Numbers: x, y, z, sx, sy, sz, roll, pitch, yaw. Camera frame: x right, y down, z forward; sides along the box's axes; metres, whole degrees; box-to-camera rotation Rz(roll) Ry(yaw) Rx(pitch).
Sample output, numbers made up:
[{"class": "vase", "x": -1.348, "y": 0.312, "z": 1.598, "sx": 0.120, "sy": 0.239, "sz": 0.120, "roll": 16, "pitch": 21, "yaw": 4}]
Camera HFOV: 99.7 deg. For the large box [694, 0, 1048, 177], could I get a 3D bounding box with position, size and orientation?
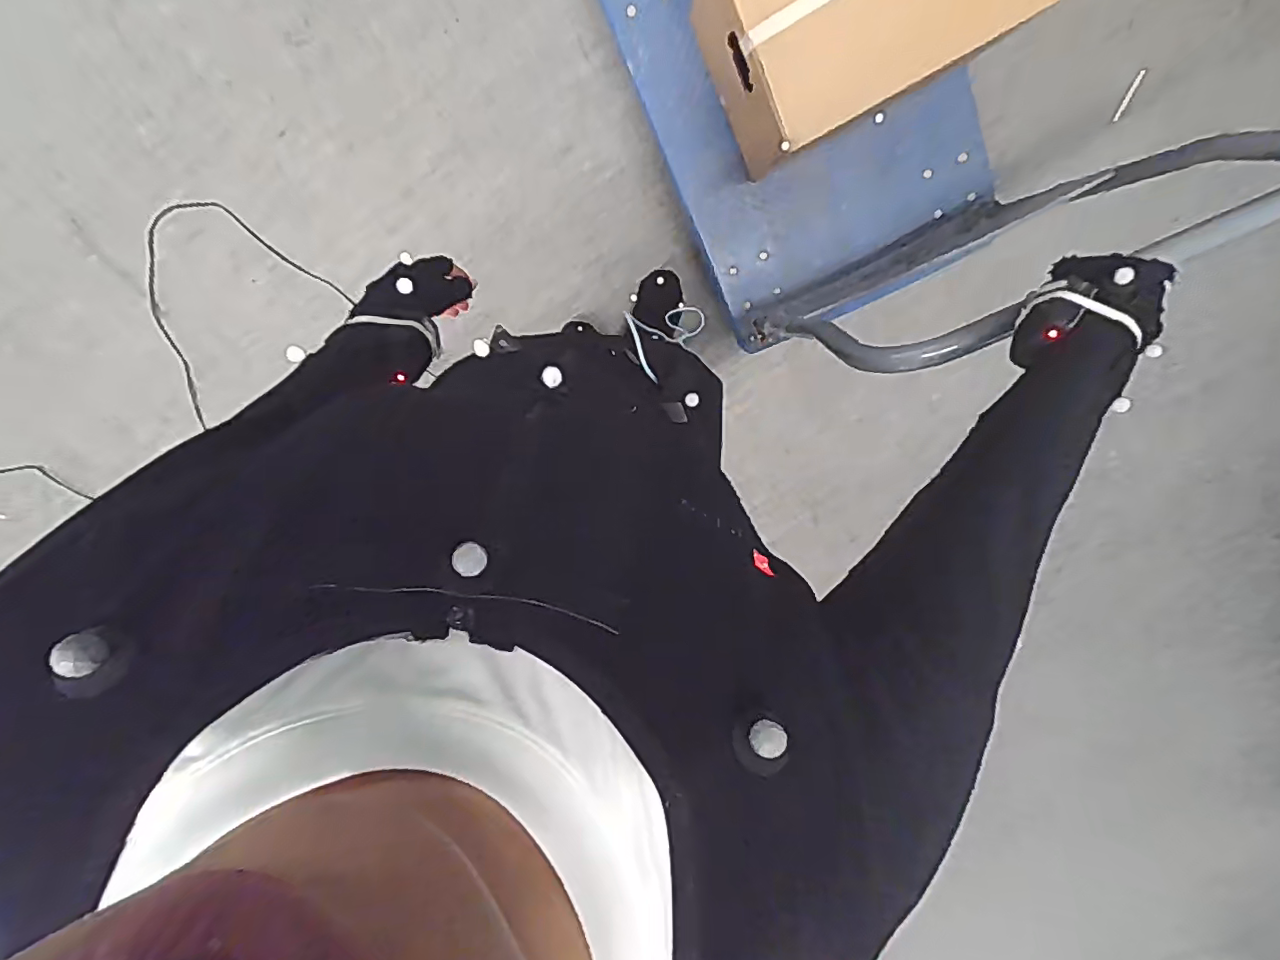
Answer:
[{"class": "large box", "x": 0.337, "y": -0.768, "z": 0.883, "sx": 0.408, "sy": 0.320, "sz": 0.320, "roll": -25, "pitch": 108, "yaw": 12}]
